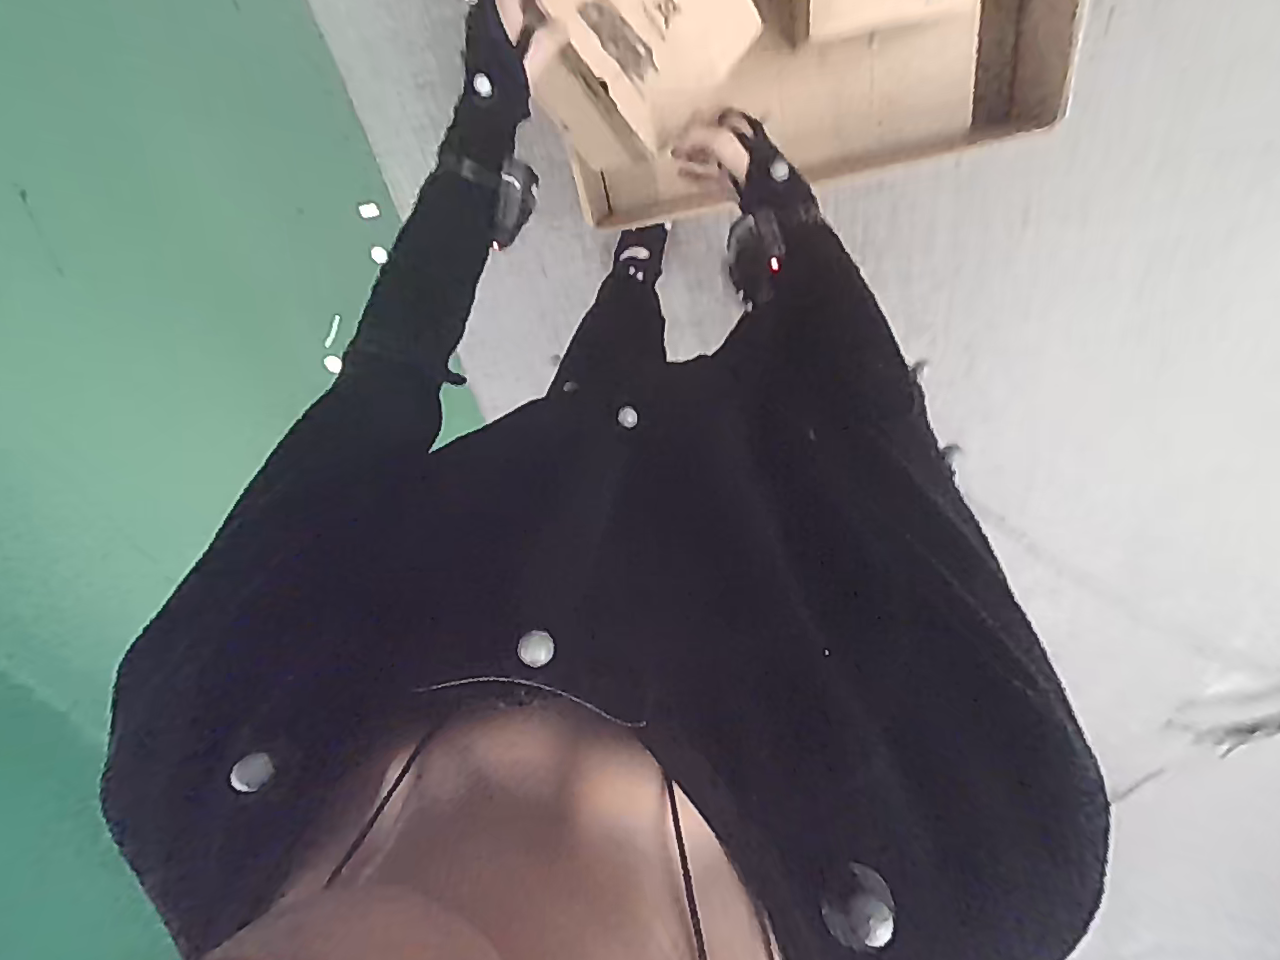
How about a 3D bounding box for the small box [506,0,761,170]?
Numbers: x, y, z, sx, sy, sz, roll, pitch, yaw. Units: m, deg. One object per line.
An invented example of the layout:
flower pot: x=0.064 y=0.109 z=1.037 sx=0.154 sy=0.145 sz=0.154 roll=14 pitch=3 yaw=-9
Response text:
small box: x=-0.018 y=-0.451 z=0.559 sx=0.168 sy=0.176 sz=0.179 roll=37 pitch=94 yaw=-37
